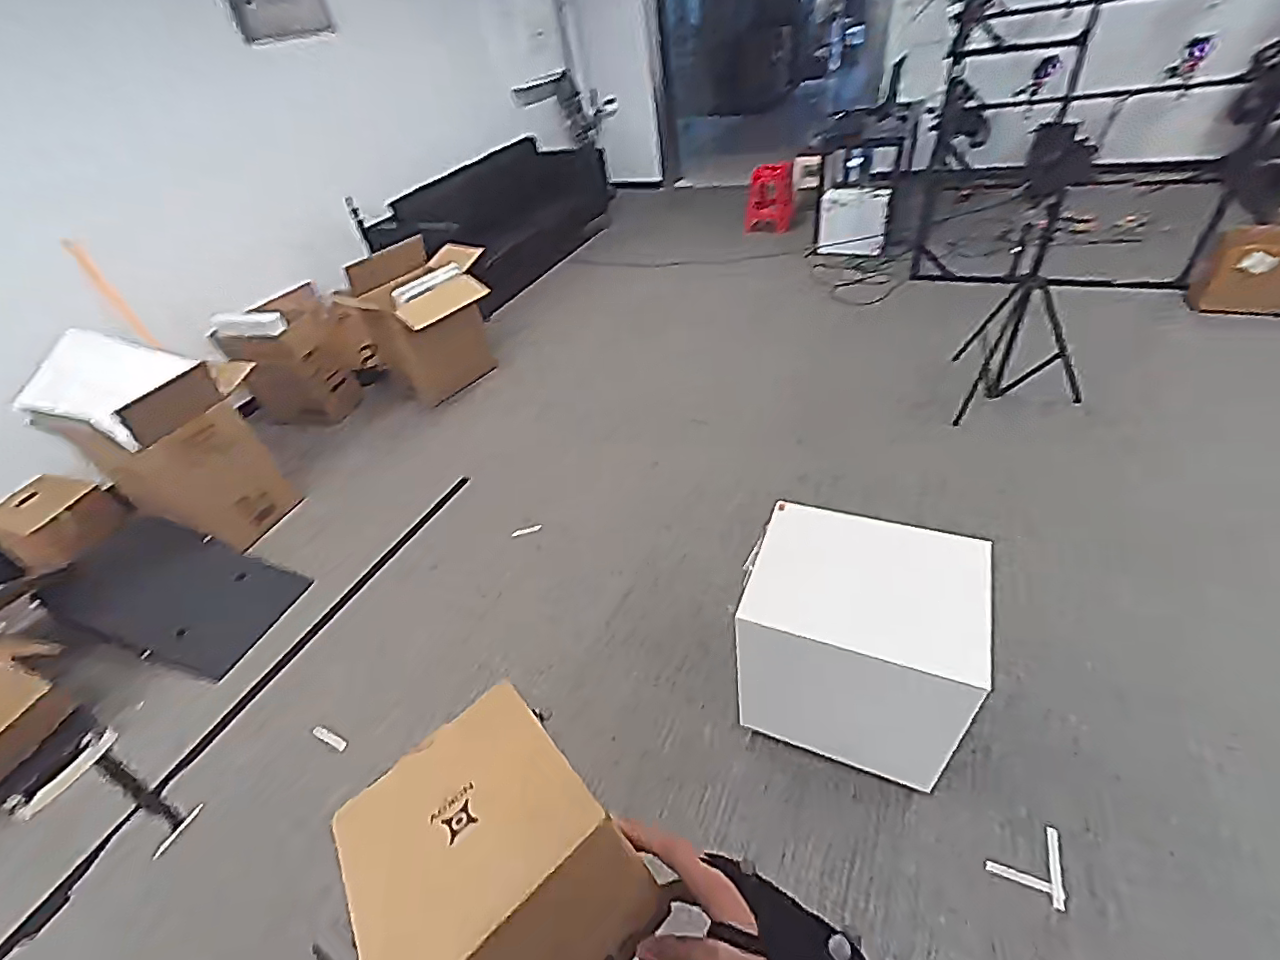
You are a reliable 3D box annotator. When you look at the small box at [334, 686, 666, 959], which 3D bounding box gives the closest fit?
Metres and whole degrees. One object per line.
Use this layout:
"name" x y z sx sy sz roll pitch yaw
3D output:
"small box" -0.105 0.313 0.430 0.168 0.176 0.179 -35 33 -23
